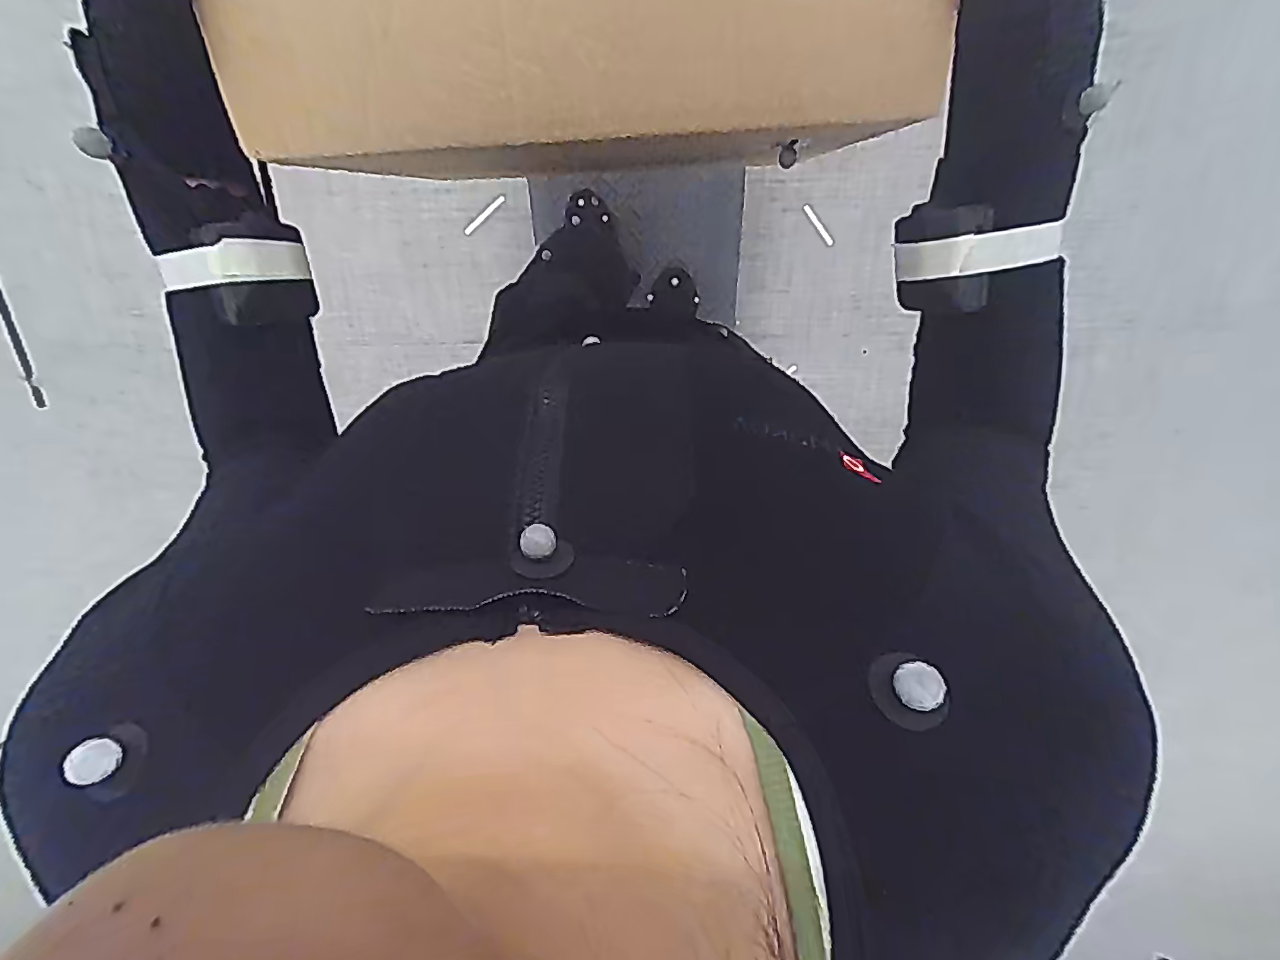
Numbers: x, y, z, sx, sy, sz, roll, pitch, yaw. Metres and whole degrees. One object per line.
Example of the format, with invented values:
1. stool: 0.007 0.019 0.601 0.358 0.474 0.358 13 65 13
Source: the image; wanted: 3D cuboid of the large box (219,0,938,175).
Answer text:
1. large box: -0.036 -0.412 0.389 0.408 0.320 0.320 -2 116 3
